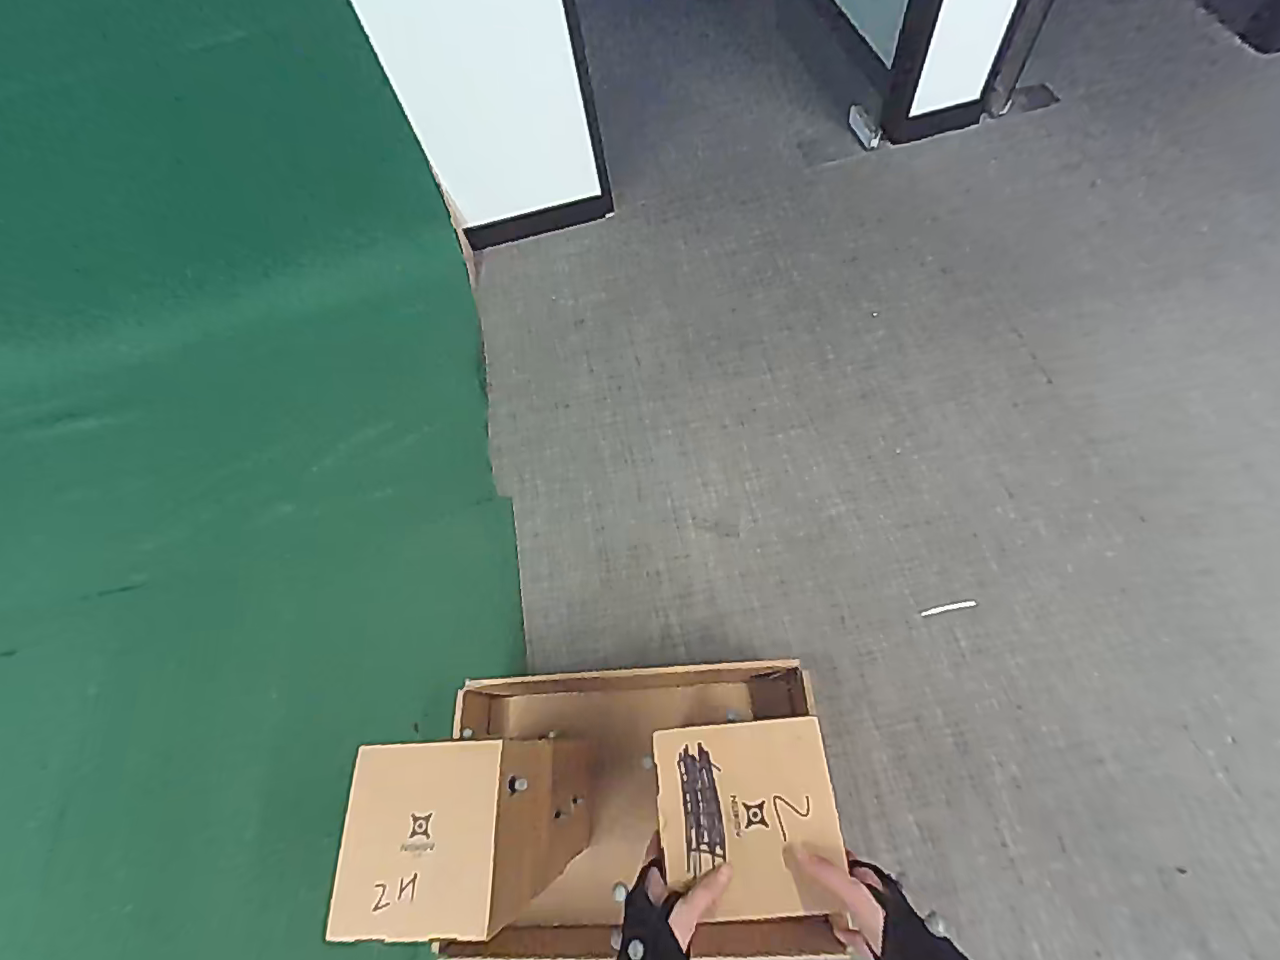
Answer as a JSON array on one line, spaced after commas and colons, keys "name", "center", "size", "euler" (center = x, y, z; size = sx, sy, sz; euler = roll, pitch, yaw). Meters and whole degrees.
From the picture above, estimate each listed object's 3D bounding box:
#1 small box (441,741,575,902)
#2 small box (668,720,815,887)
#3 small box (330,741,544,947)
[{"name": "small box", "center": [-0.192, 0.473, 0.774], "size": [0.168, 0.176, 0.179], "euler": [-2, 65, 6]}, {"name": "small box", "center": [0.131, 0.436, 0.746], "size": [0.168, 0.176, 0.179], "euler": [-7, 64, 6]}, {"name": "small box", "center": [-0.214, 0.404, 0.627], "size": [0.168, 0.176, 0.179], "euler": [-4, 64, 5]}]
